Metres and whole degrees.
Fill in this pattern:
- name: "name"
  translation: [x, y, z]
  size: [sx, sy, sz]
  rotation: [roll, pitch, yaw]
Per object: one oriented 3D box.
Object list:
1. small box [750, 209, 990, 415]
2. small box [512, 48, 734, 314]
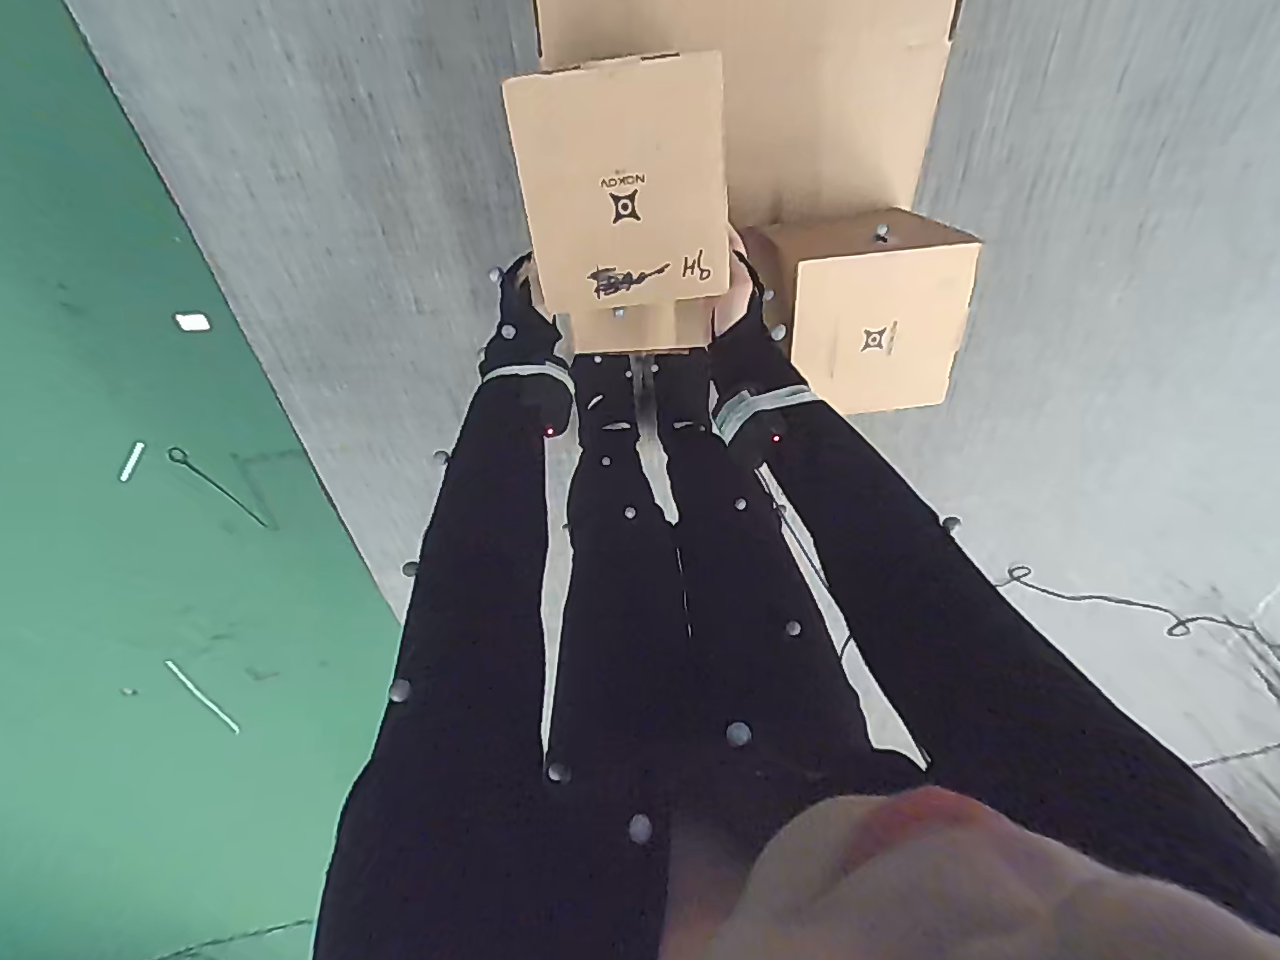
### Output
- name: "small box"
  translation: [0.230, -0.190, 0.594]
  size: [0.179, 0.176, 0.168]
  rotation: [-6, 125, 0]
- name: "small box"
  translation: [-0.009, -0.268, 0.505]
  size: [0.168, 0.176, 0.179]
  rotation: [-6, 119, 3]
